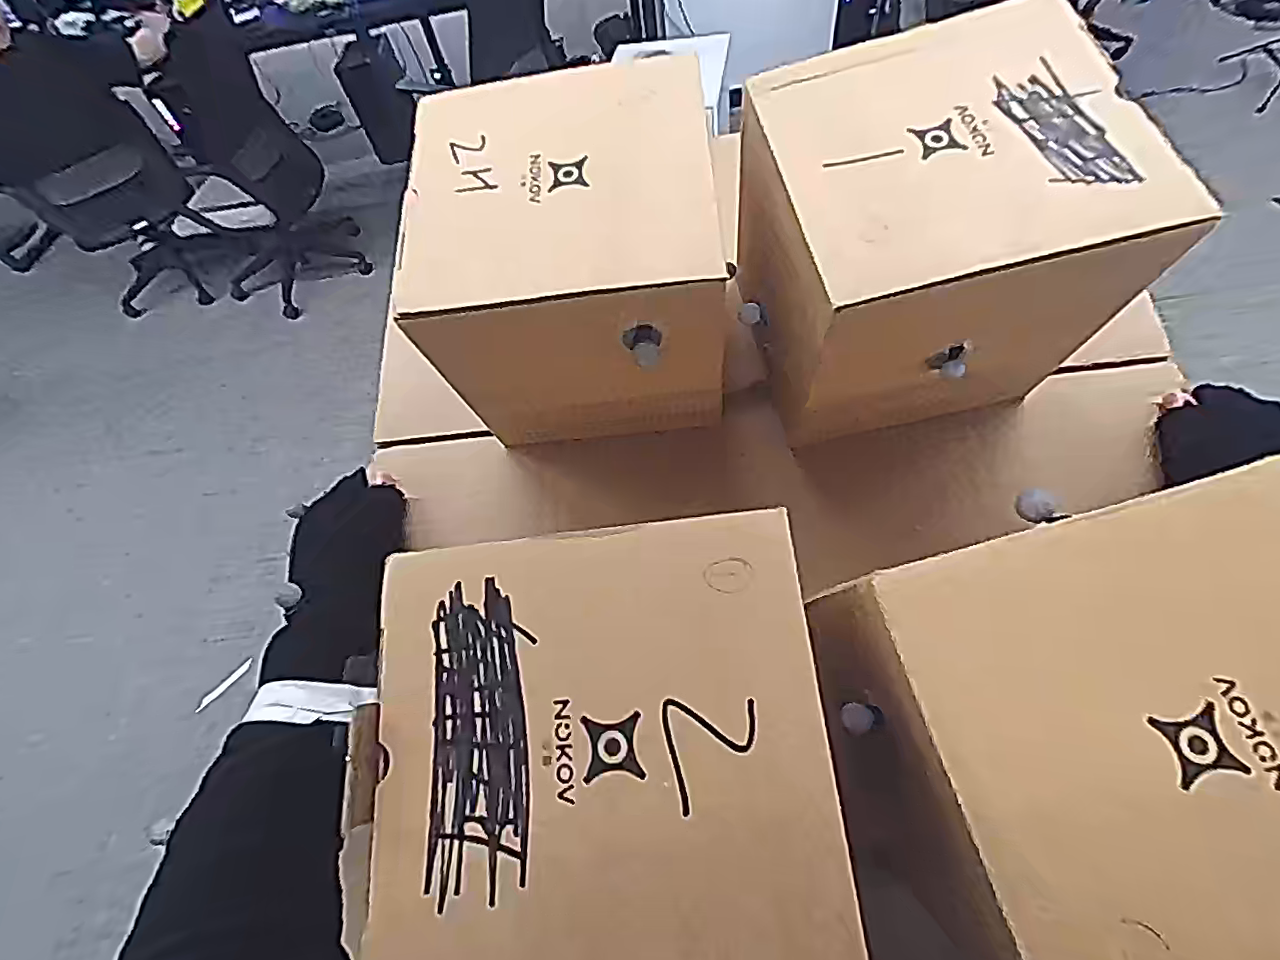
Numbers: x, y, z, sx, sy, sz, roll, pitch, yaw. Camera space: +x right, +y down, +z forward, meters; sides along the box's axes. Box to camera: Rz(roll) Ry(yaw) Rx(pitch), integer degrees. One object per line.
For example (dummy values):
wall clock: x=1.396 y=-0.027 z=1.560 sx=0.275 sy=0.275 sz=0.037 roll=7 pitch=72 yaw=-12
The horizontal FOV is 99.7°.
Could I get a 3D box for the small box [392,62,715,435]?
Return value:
small box: x=-0.041 y=-0.143 z=0.385 sx=0.179 sy=0.176 sz=0.168 roll=-5 pitch=69 yaw=7
